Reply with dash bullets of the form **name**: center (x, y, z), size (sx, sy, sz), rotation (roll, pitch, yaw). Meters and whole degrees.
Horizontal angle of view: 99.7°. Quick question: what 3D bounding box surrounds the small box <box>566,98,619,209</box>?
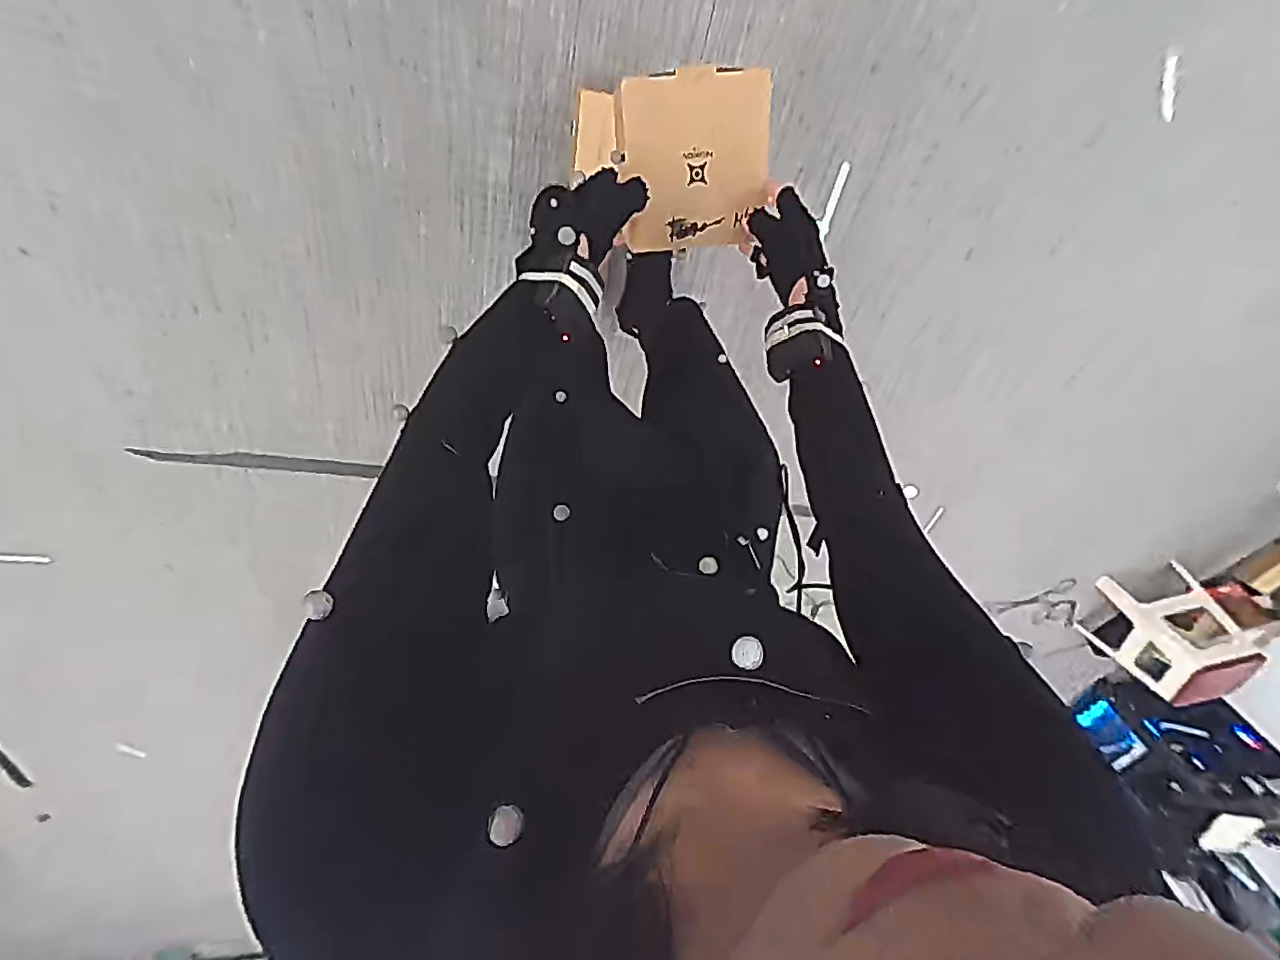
- **small box**: center (-0.048, -0.645, 1.072), size (0.179, 0.176, 0.168), rotation (3, 126, -13)

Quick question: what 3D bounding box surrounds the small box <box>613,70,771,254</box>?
- **small box**: center (0.057, -0.391, 0.683), size (0.168, 0.176, 0.179), rotation (-6, 119, -3)
